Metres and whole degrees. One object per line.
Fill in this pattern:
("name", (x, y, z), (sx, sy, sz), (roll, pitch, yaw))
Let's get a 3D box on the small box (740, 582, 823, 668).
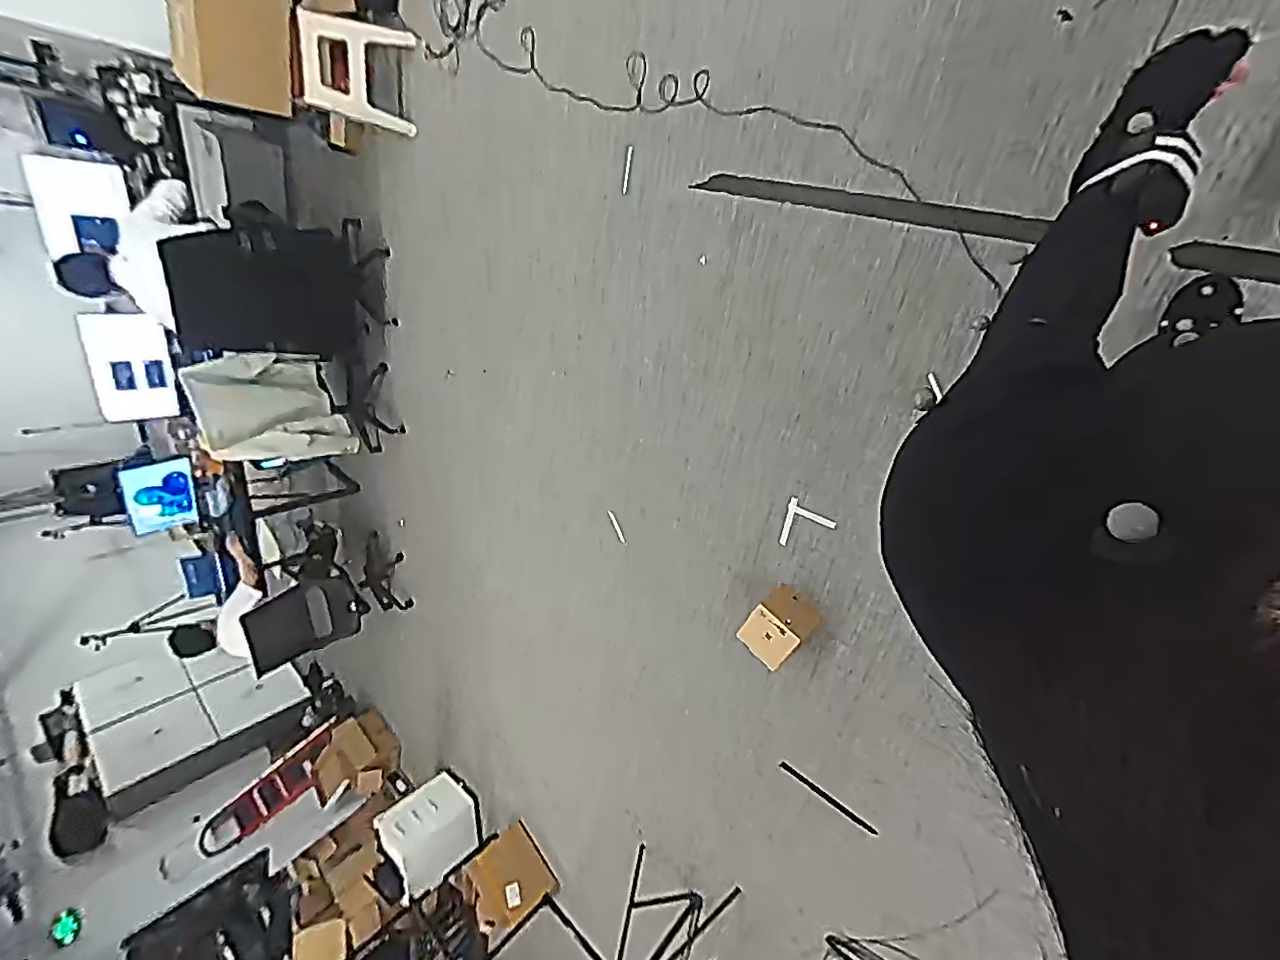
("small box", (0.466, 0.468, 1.763), (0.168, 0.176, 0.179), (42, 129, 24))
